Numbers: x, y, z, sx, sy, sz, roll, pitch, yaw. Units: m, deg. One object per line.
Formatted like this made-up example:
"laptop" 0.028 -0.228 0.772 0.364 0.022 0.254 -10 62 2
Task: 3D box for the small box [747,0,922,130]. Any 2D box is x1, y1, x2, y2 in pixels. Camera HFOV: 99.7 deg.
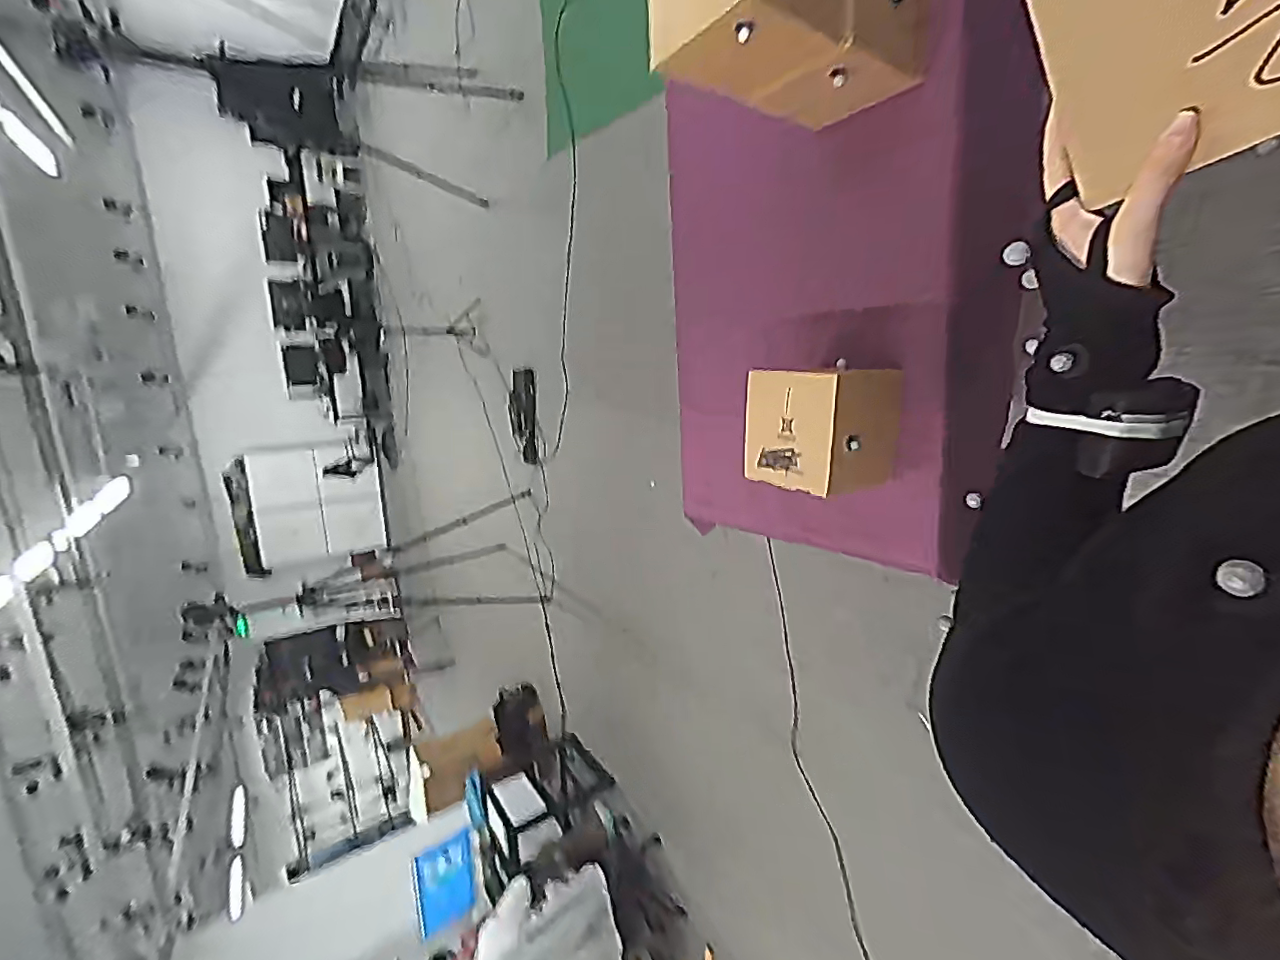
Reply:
"small box" 0.268 -0.617 0.746 0.179 0.176 0.168 13 109 54

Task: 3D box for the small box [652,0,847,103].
"small box" 0.130 -0.599 0.660 0.179 0.176 0.168 12 109 53

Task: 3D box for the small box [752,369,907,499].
"small box" 0.296 -0.082 0.851 0.168 0.176 0.179 16 111 53
